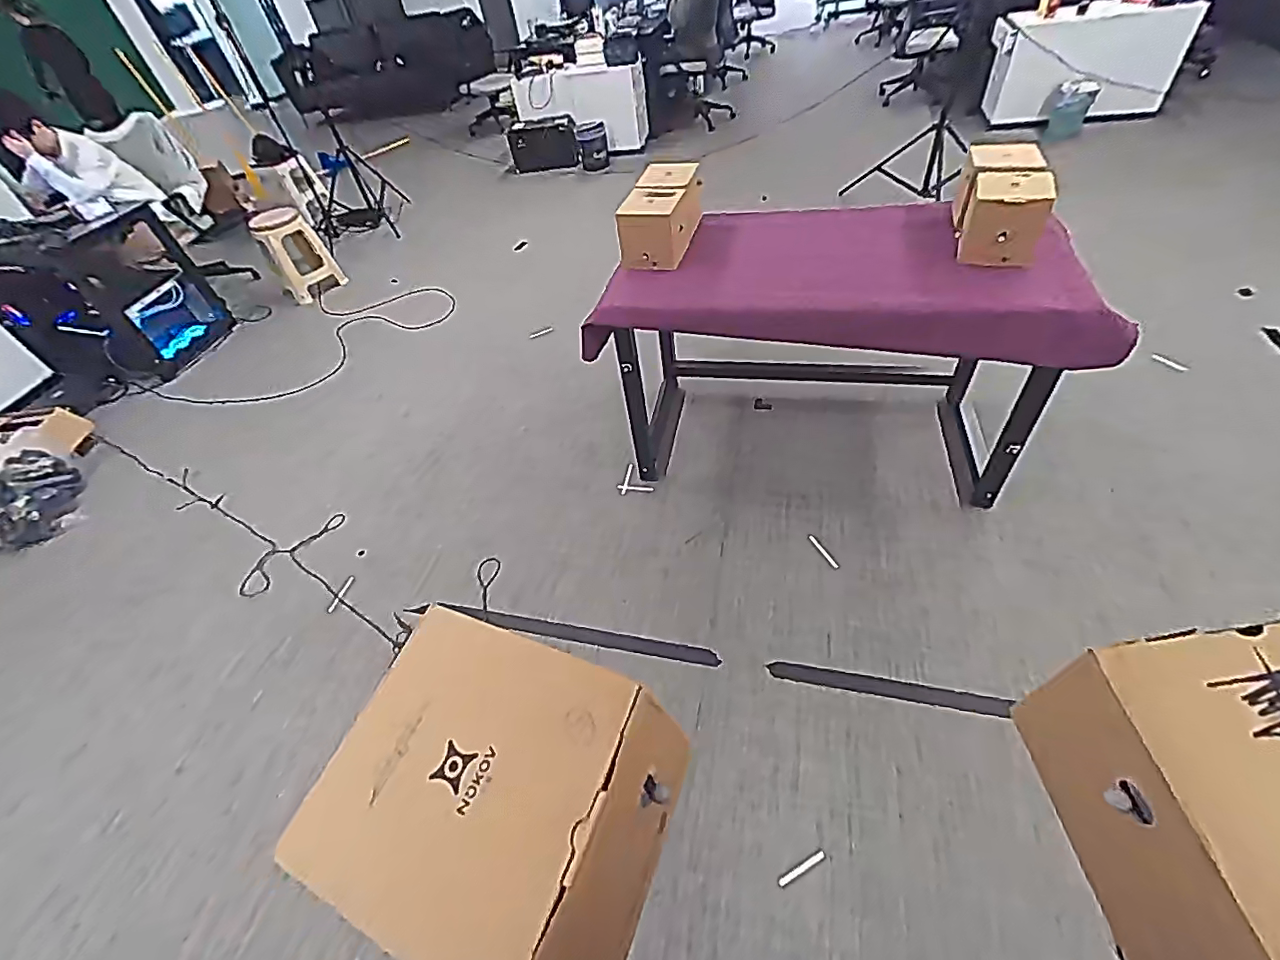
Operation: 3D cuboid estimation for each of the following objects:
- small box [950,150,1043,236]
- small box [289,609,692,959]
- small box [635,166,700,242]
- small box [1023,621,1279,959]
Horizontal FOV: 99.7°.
[{"bbox_3d":[0.982,-0.801,1.507,0.168,0.176,0.179,9,49,16],"label":"small box"},{"bbox_3d":[-0.078,0.218,0.377,0.179,0.176,0.168,10,57,26],"label":"small box"},{"bbox_3d":[0.094,-0.884,1.730,0.168,0.176,0.179,8,51,17],"label":"small box"},{"bbox_3d":[0.373,0.198,0.321,0.168,0.176,0.179,-14,53,9],"label":"small box"}]
